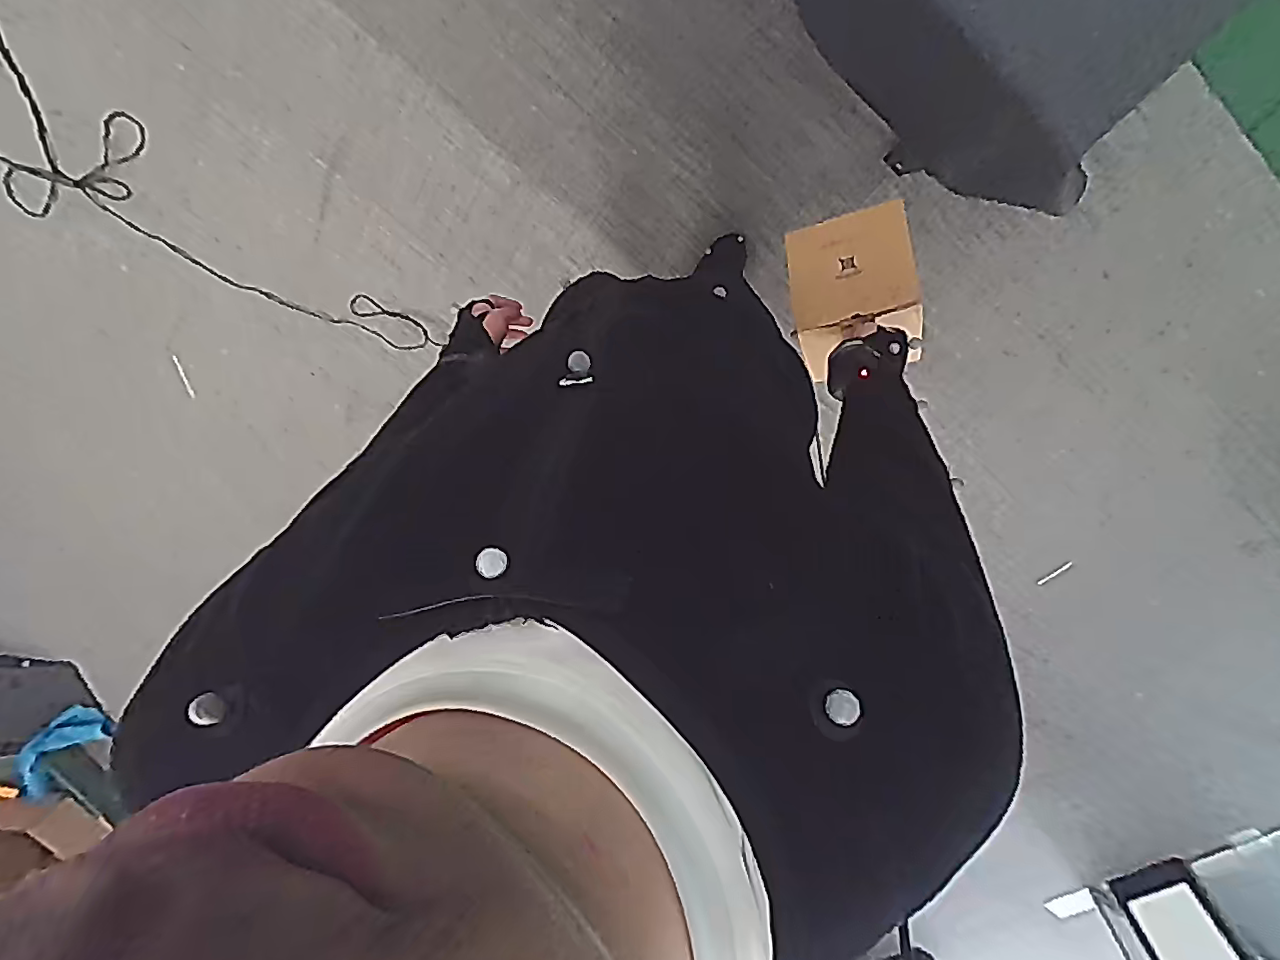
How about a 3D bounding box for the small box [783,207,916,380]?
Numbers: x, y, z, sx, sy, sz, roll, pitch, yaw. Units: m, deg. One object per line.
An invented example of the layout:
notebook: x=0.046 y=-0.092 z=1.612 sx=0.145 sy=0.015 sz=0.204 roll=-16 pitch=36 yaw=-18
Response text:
small box: x=0.321 y=-0.269 z=0.829 sx=0.168 sy=0.179 sz=0.176 roll=-8 pitch=159 yaw=23
